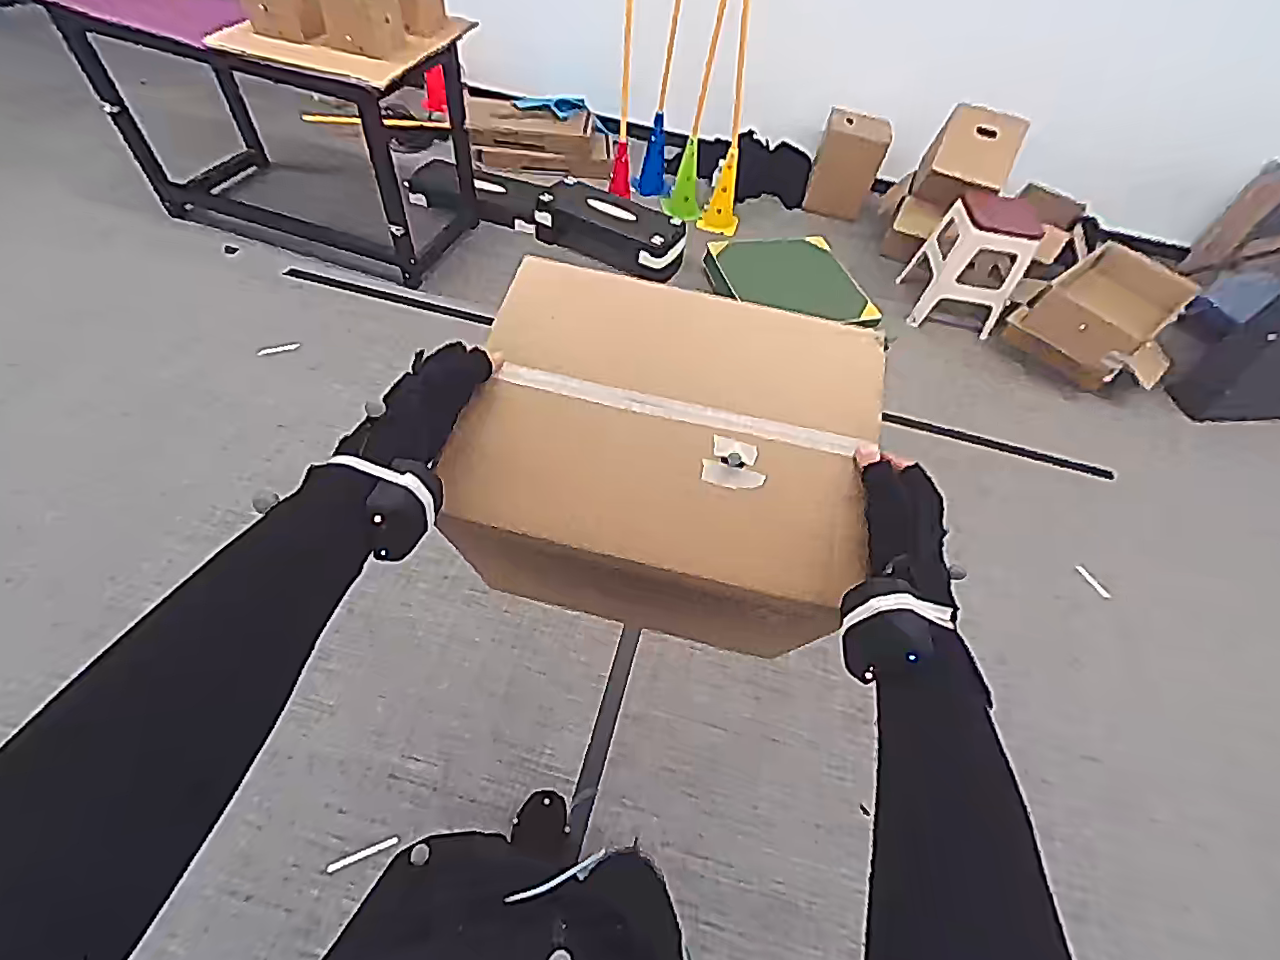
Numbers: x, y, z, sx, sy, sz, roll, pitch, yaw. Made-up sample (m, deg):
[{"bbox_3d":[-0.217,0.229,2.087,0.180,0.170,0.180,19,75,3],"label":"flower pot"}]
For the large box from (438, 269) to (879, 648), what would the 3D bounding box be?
[{"bbox_3d":[0.029,-0.005,0.682,0.408,0.320,0.320,14,67,3],"label":"large box"}]
